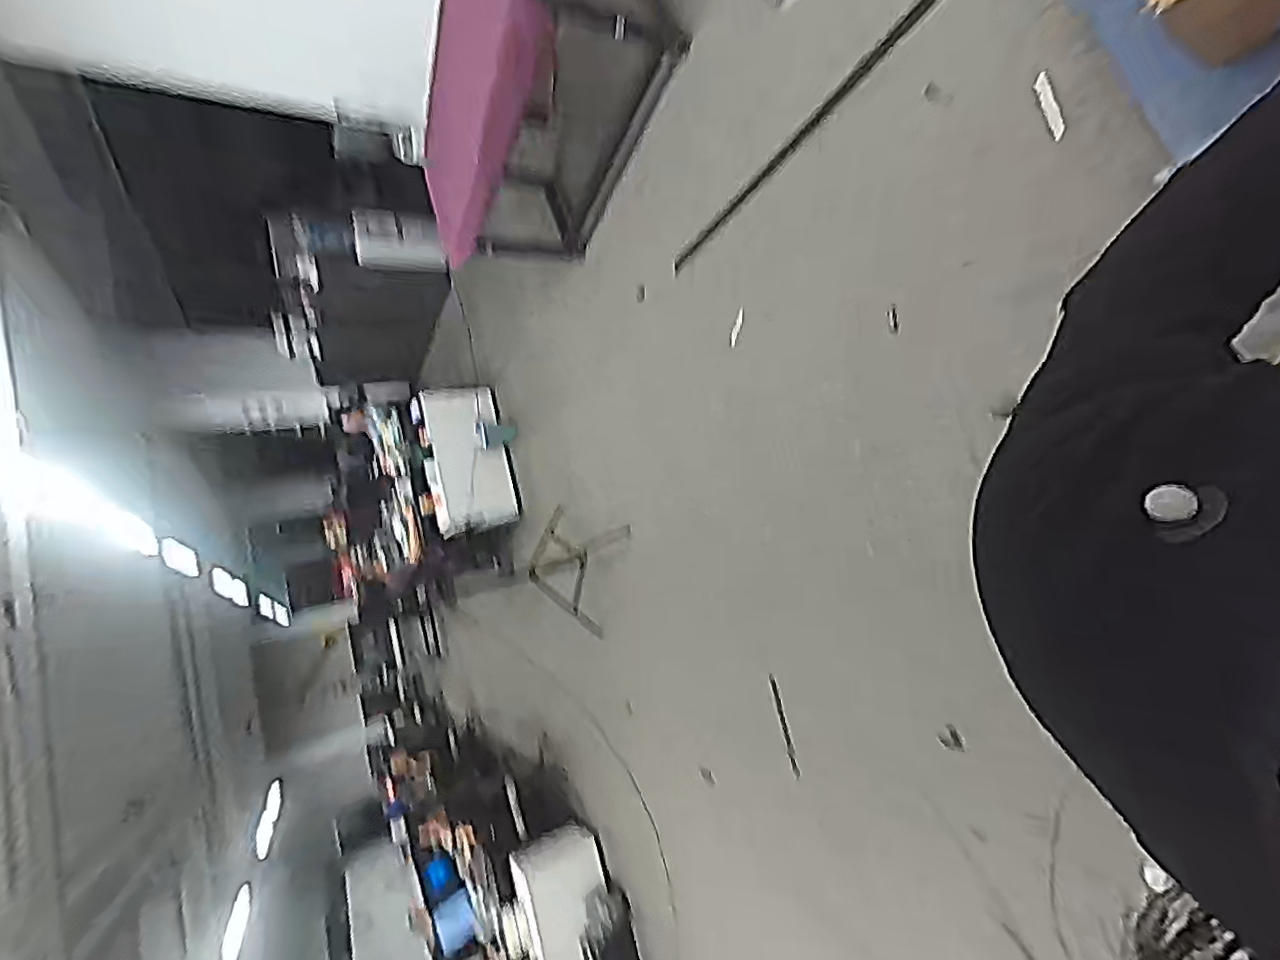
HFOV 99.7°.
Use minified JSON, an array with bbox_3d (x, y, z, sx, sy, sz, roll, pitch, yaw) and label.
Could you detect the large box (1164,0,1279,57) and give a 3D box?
[{"bbox_3d":[0.882,-0.859,0.663,0.408,0.320,0.320,-33,71,56],"label":"large box"}]
